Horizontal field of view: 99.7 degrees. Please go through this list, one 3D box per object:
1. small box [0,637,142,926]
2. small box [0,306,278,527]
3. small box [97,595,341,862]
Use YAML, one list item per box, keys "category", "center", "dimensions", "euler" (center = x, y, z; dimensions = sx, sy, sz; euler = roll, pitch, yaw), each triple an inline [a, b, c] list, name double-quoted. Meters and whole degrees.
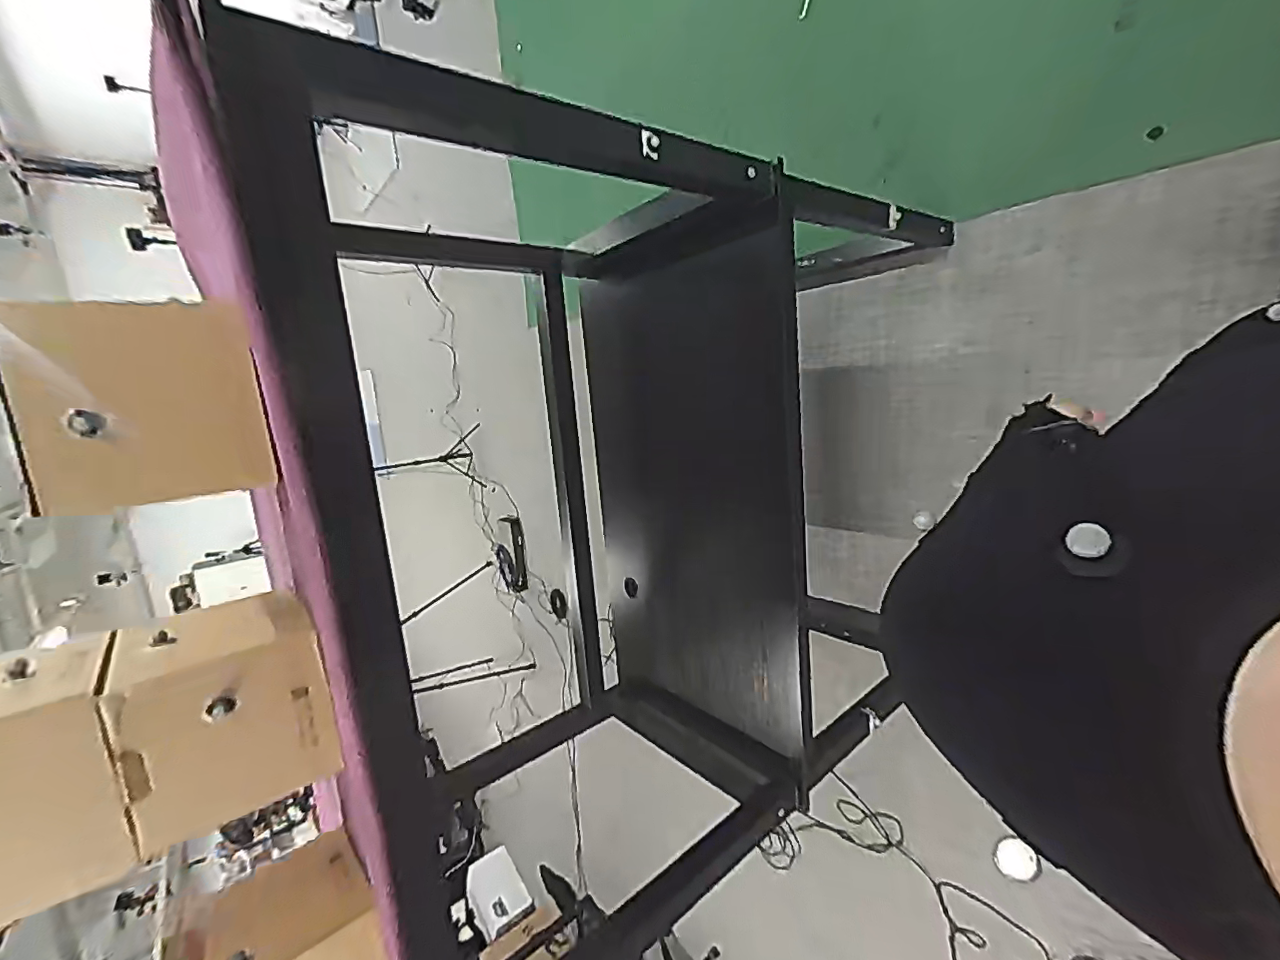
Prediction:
- category: "small box"
  center: [-0.560, 0.268, 0.476]
  dimensions: [0.168, 0.176, 0.179]
  euler: [9, 107, 49]
- category: "small box"
  center: [-0.472, -0.067, 0.528]
  dimensions: [0.168, 0.176, 0.179]
  euler: [7, 106, 52]
- category: "small box"
  center: [-0.433, 0.239, 0.577]
  dimensions: [0.179, 0.176, 0.168]
  euler: [9, 107, 50]
